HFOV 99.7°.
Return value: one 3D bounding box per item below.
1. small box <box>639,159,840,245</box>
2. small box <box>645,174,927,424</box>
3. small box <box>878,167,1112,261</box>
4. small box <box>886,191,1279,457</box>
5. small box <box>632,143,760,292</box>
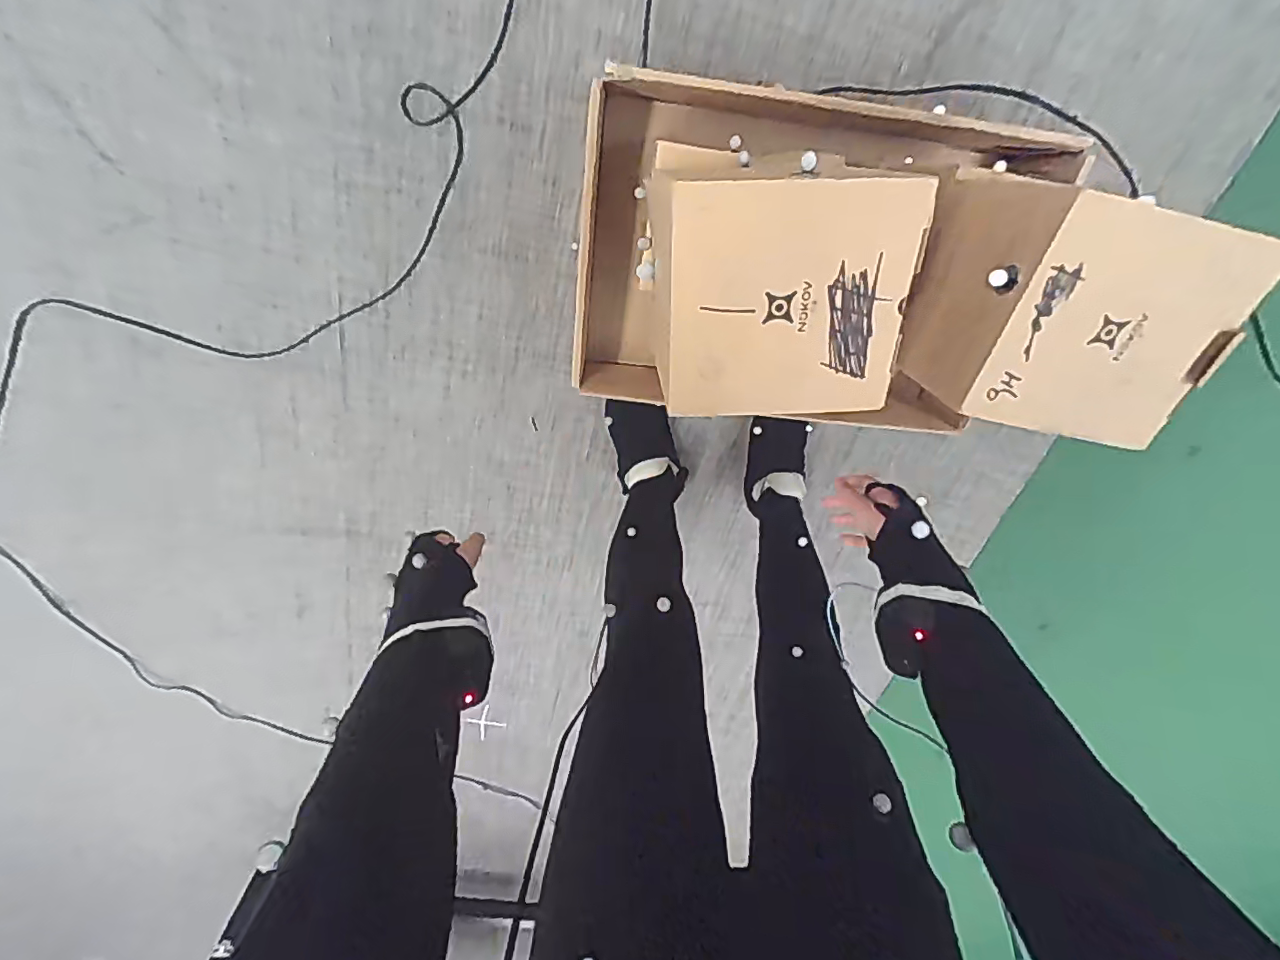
[{"bbox_3d":[0.100,-0.246,0.595,0.179,0.176,0.168,-9,122,2],"label":"small box"},{"bbox_3d":[0.097,-0.159,0.455,0.179,0.176,0.168,-2,122,-2],"label":"small box"},{"bbox_3d":[0.346,-0.238,0.605,0.168,0.176,0.179,8,121,-5],"label":"small box"},{"bbox_3d":[0.344,-0.142,0.470,0.179,0.176,0.168,10,120,-7],"label":"small box"},{"bbox_3d":[0.085,-0.342,0.725,0.179,0.176,0.168,5,122,-7],"label":"small box"}]
